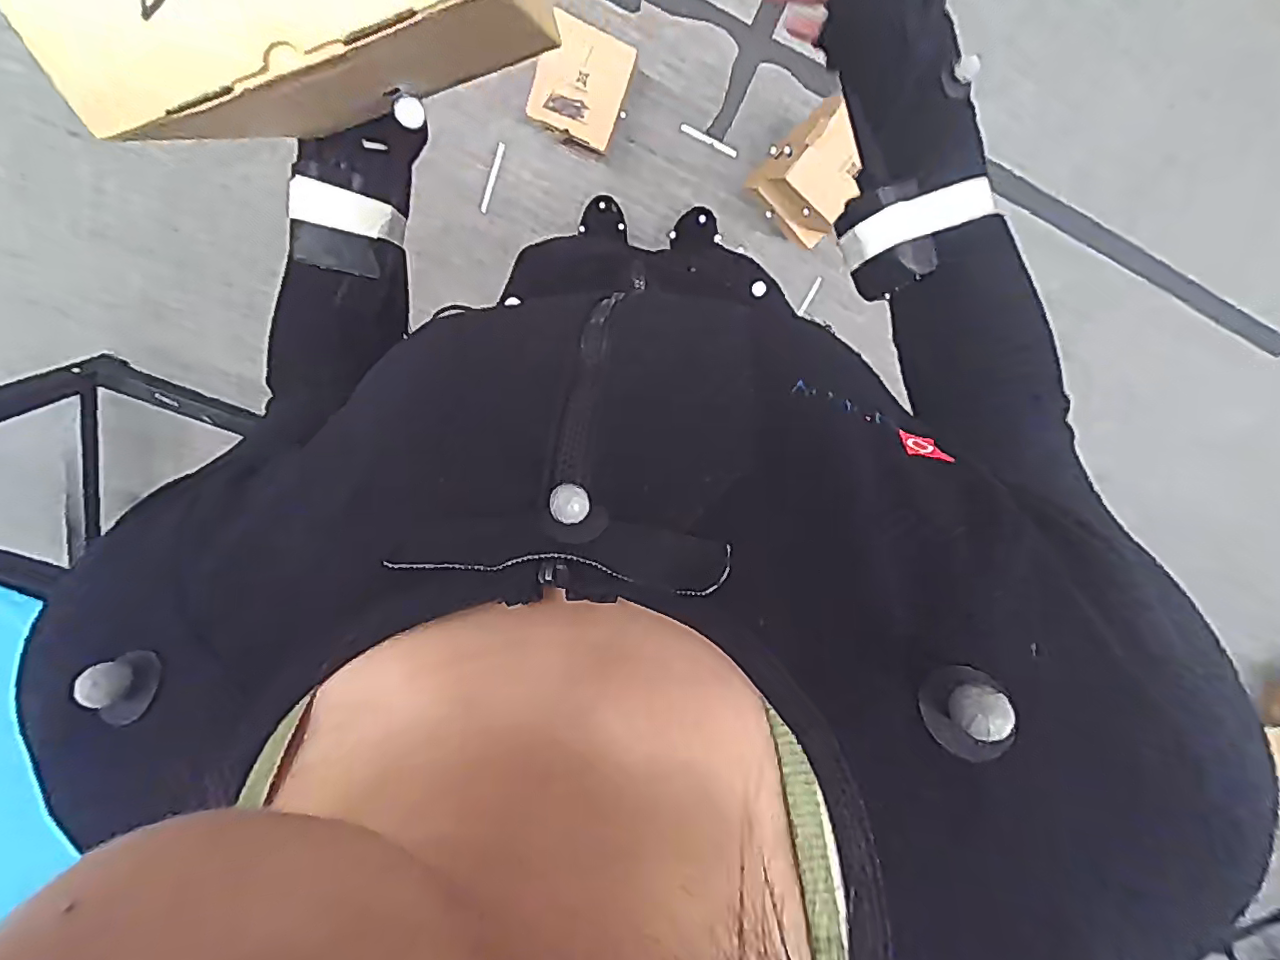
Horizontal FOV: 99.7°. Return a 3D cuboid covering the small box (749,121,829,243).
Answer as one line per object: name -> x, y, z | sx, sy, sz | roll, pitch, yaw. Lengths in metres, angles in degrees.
small box -> 0.359, -0.641, 1.166 | 0.179, 0.176, 0.168 | 36, 112, -20

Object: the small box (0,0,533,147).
small box -> -0.157, -0.255, 0.214 | 0.168, 0.176, 0.179 | -10, 126, 9

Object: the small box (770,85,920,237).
small box -> 0.368, -0.584, 1.009 | 0.179, 0.176, 0.168 | 34, 114, -19

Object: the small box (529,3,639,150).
small box -> -0.105, -0.789, 1.083 | 0.168, 0.176, 0.179 | 20, 116, -10
